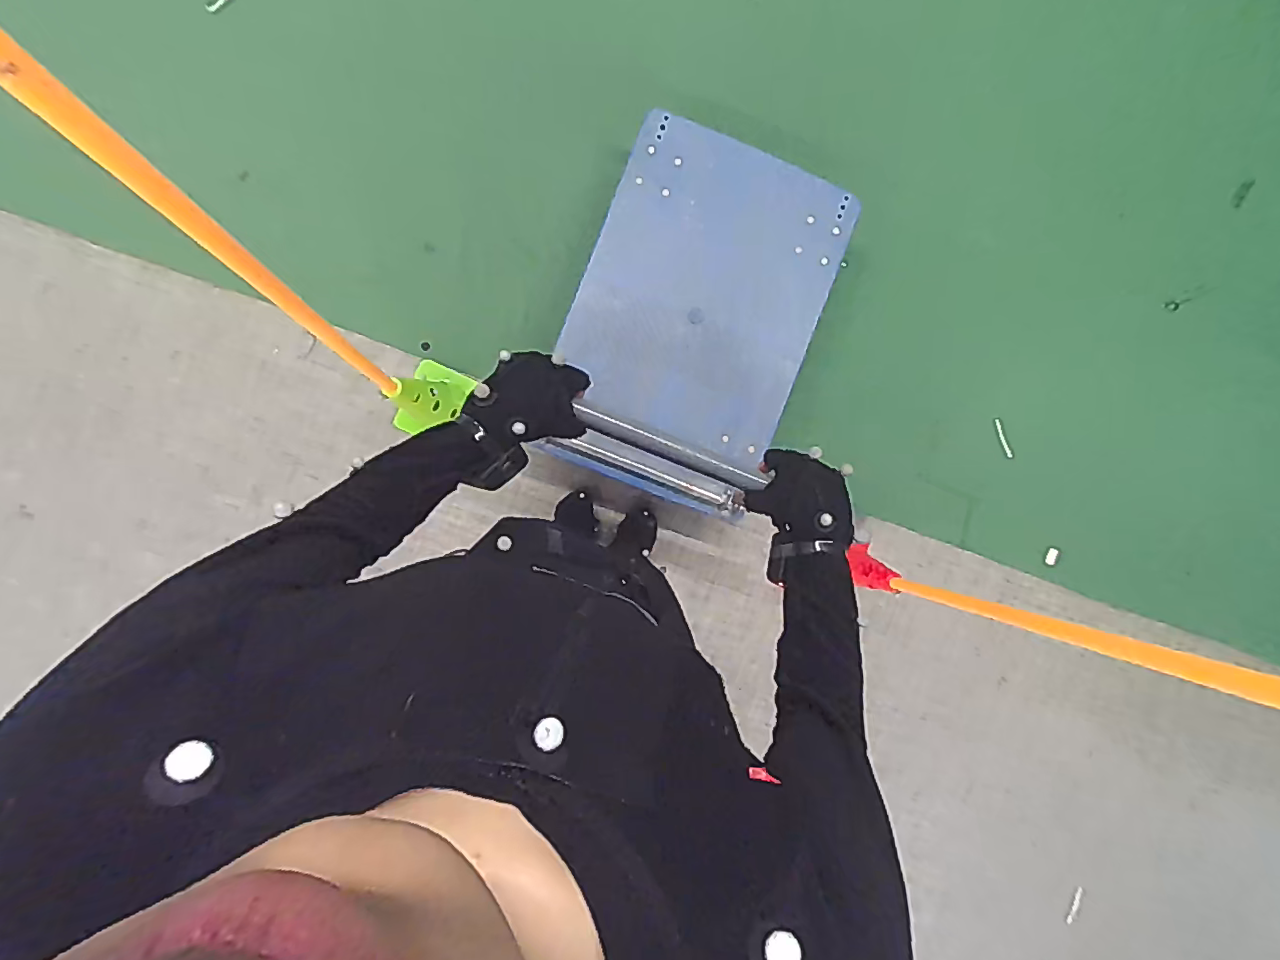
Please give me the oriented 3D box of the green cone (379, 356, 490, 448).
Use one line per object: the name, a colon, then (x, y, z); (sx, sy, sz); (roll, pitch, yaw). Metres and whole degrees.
green cone: (-0.514, -0.208, 1.272); (0.202, 0.368, 0.200); (24, 89, -3)
